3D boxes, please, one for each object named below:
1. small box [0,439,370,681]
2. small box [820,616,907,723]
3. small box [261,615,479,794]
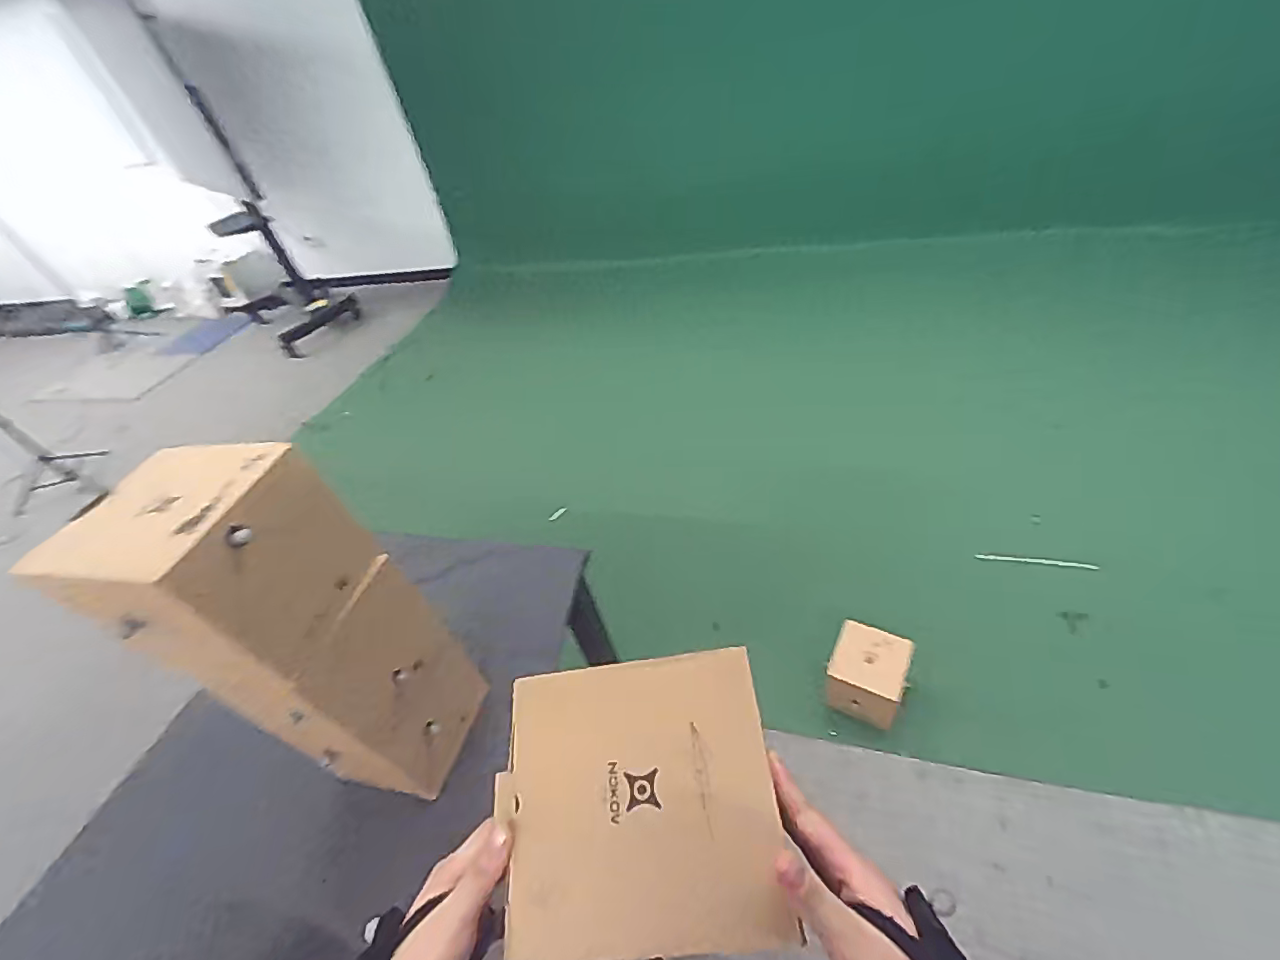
[{"bbox_3d":[-0.413,0.078,0.526,0.179,0.176,0.168,-1,45,16],"label":"small box"},{"bbox_3d":[0.575,0.494,1.404,0.168,0.176,0.179,17,50,27],"label":"small box"},{"bbox_3d":[-0.353,0.311,0.750,0.179,0.176,0.168,2,45,18],"label":"small box"}]
